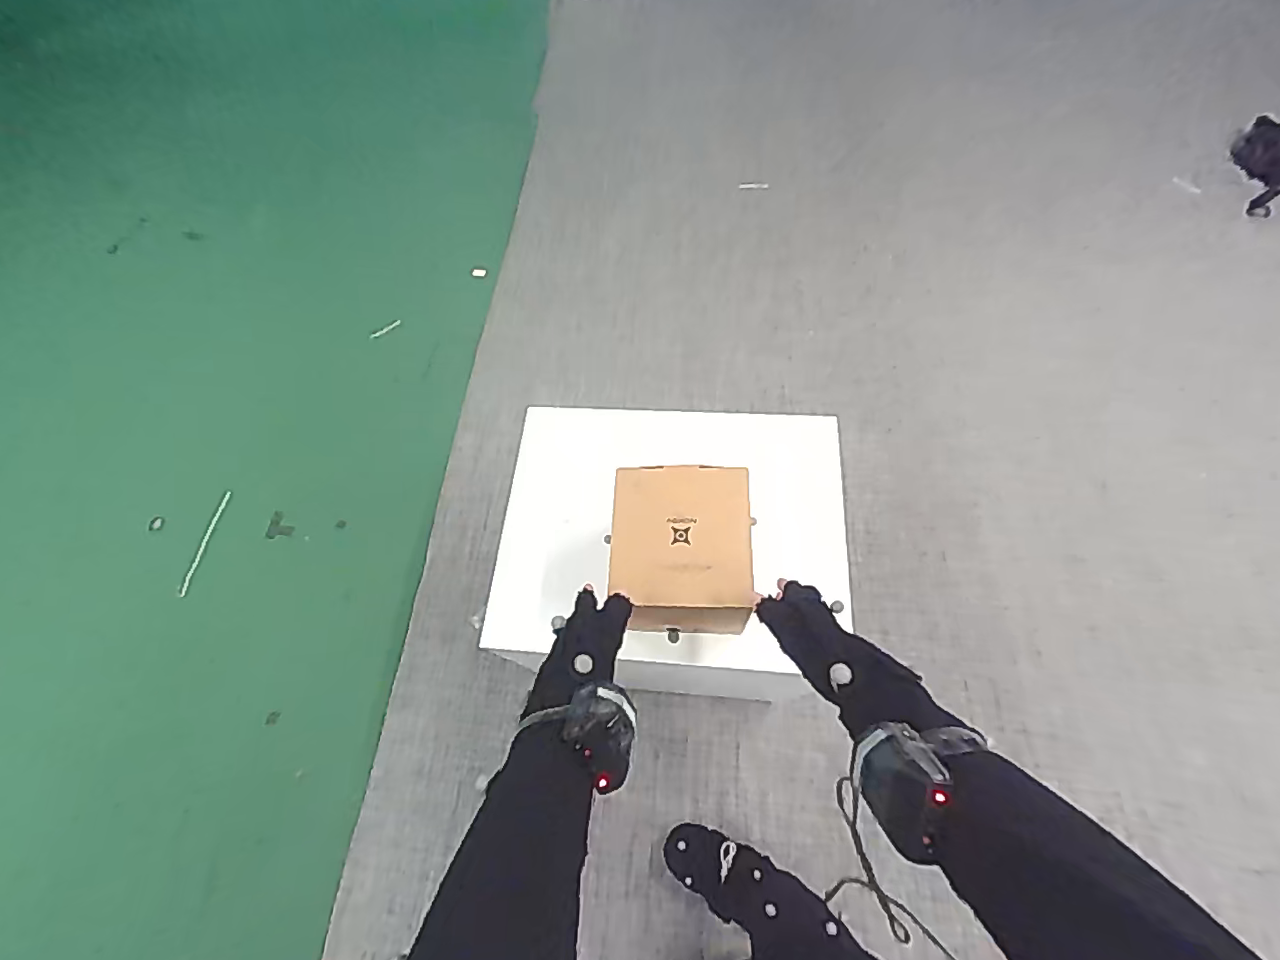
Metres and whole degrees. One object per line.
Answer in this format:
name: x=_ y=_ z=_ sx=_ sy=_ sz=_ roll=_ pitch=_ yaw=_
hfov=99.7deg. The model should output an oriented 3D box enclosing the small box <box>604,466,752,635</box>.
small box: x=0.052 y=0.095 z=0.698 sx=0.168 sy=0.176 sz=0.179 roll=-1 pitch=66 yaw=7
